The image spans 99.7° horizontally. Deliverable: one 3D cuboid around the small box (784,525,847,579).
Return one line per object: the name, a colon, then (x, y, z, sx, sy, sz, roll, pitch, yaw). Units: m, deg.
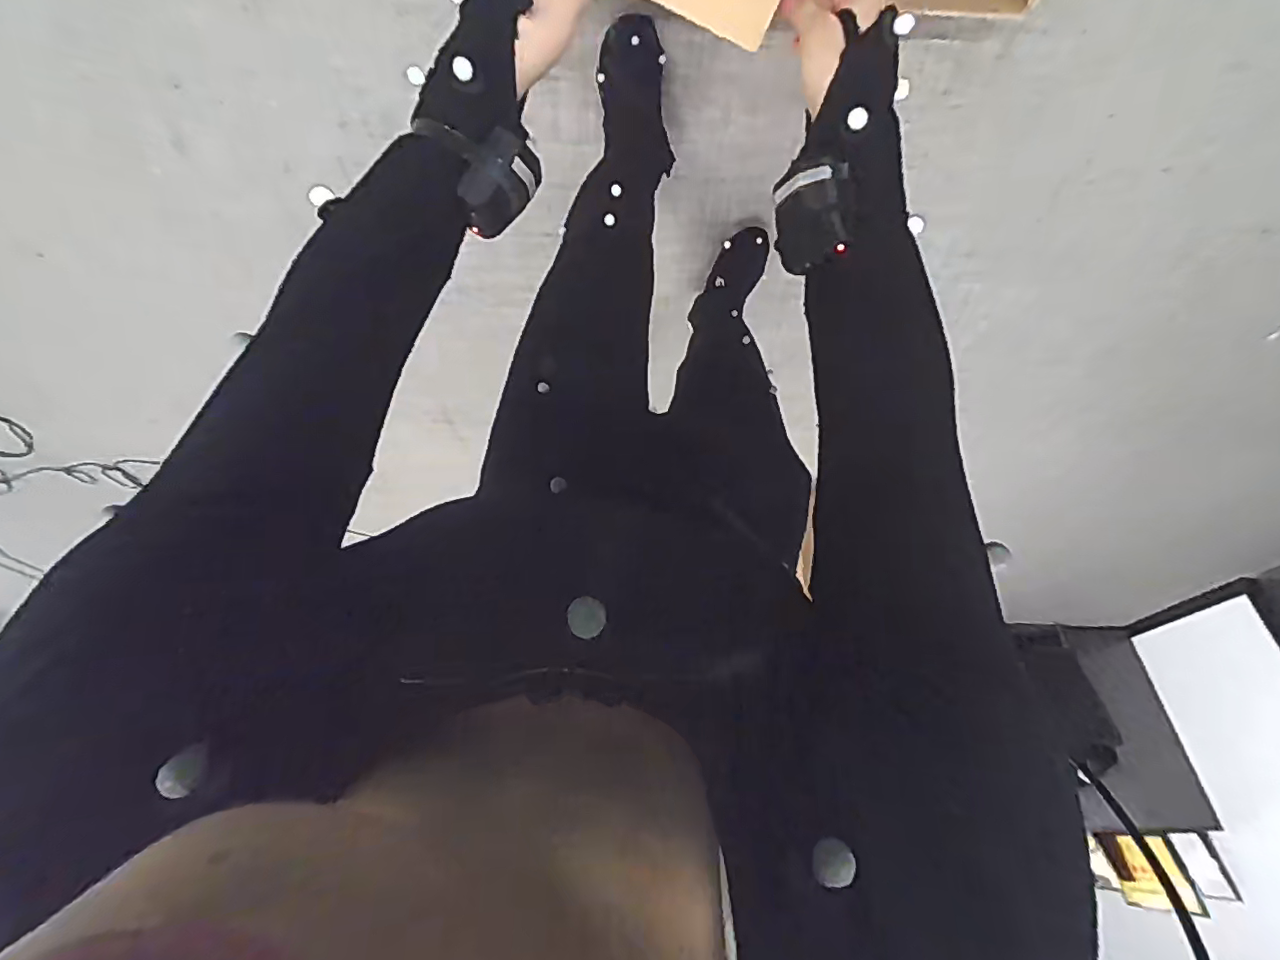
small box: (0.655, 0.280, 2.039, 0.179, 0.176, 0.168, 1, 147, 2)
